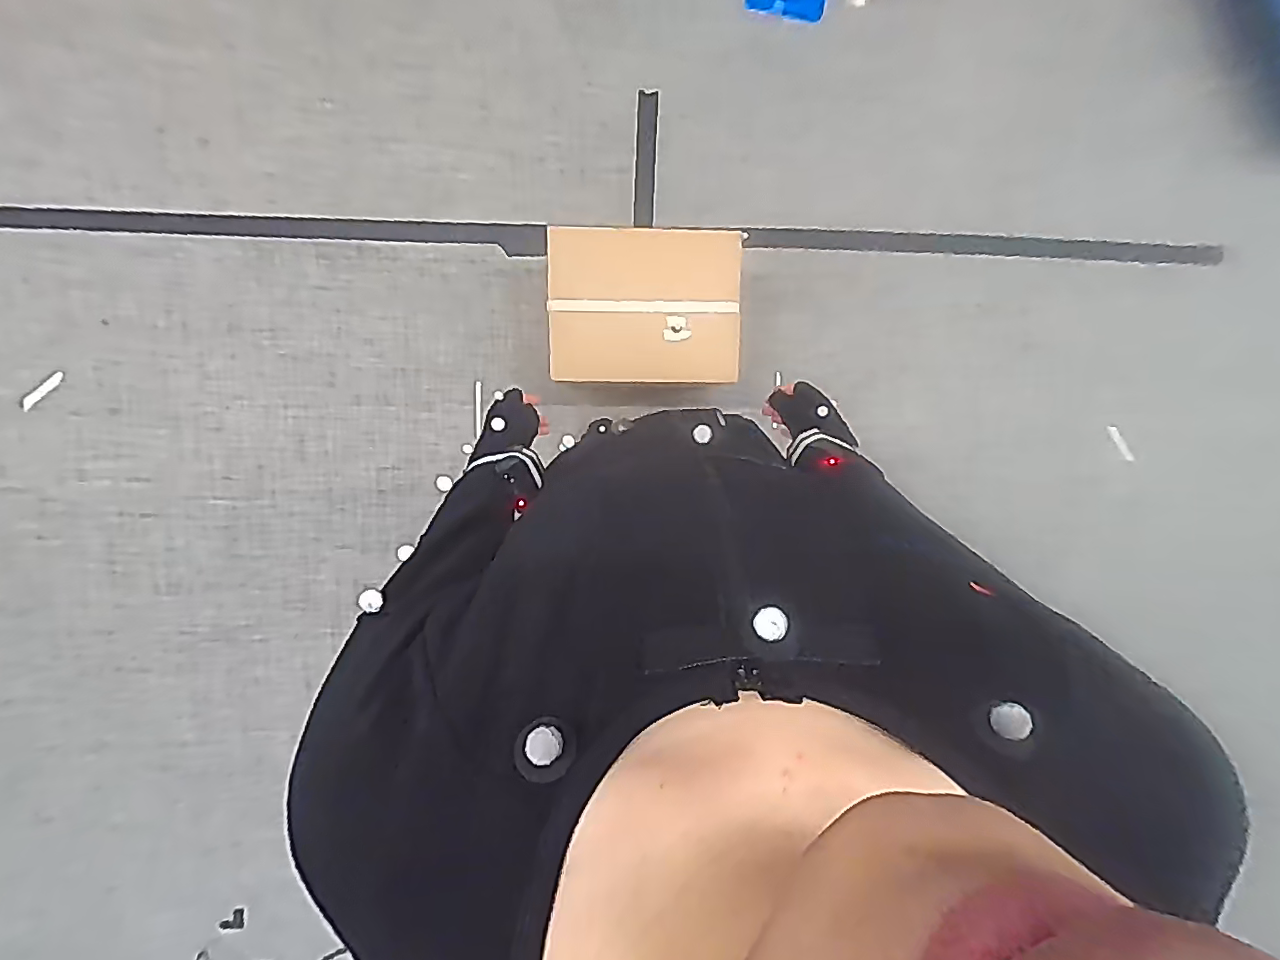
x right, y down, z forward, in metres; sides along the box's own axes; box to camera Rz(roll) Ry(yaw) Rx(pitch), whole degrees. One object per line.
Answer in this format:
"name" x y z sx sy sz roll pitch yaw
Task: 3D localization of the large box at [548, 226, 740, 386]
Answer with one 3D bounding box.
"large box" 0.000 -0.388 1.281 0.408 0.320 0.320 -1 99 -5
